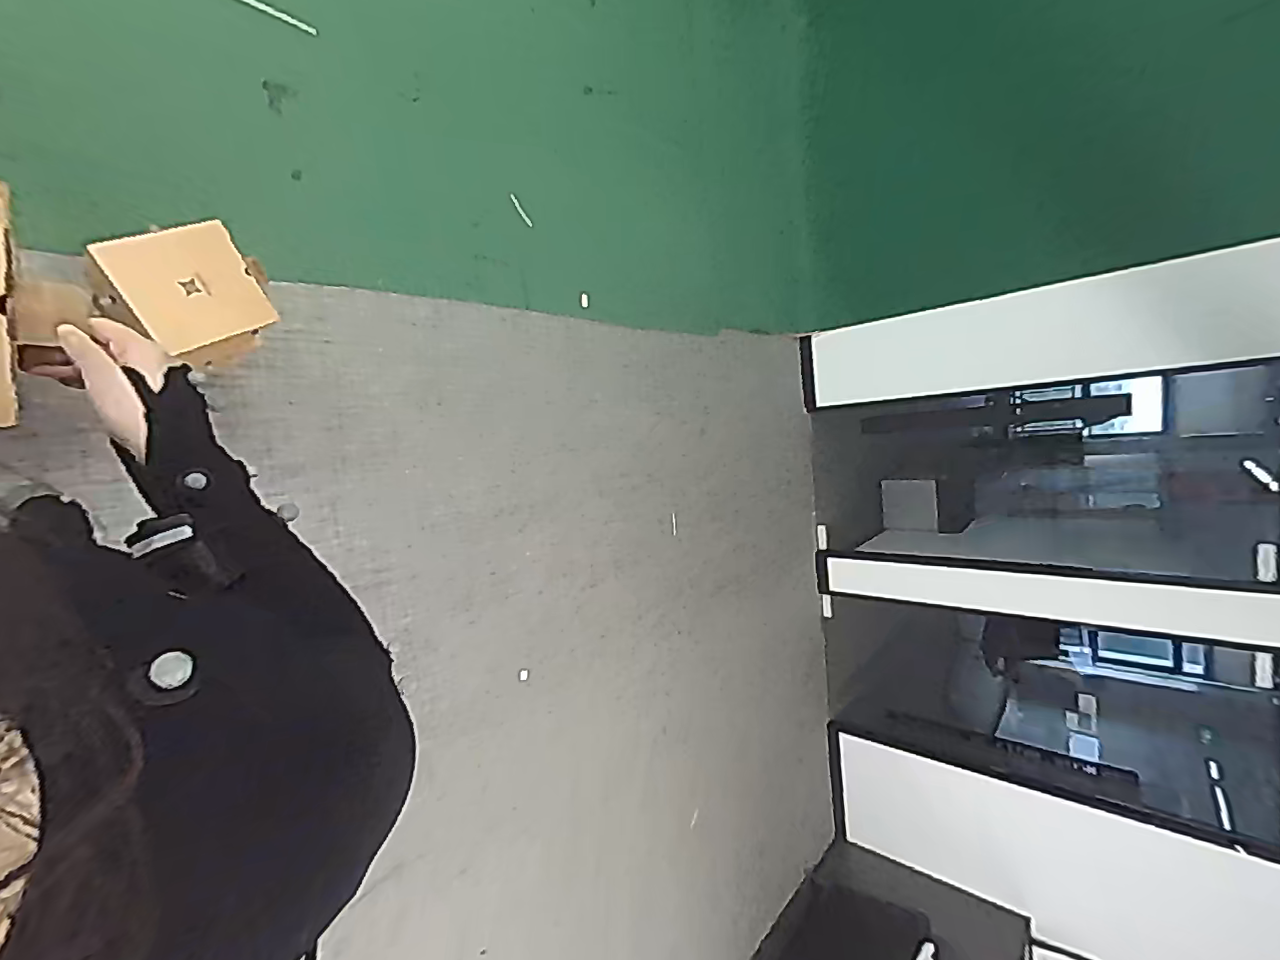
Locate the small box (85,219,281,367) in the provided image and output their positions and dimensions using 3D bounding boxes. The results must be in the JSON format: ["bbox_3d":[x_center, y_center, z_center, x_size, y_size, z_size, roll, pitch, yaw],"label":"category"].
[{"bbox_3d":[-0.735,-0.294,0.872,0.179,0.176,0.168,-43,121,-40],"label":"small box"}]

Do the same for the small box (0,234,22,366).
[{"bbox_3d":[-1.030,-0.270,0.787,0.168,0.176,0.179,-1,91,-47],"label":"small box"}]

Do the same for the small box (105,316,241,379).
[{"bbox_3d":[-0.960,-0.304,1.107,0.179,0.176,0.168,-21,106,-47],"label":"small box"}]

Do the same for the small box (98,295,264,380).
[{"bbox_3d":[-0.845,-0.293,0.993,0.179,0.176,0.168,-38,119,-42],"label":"small box"}]
